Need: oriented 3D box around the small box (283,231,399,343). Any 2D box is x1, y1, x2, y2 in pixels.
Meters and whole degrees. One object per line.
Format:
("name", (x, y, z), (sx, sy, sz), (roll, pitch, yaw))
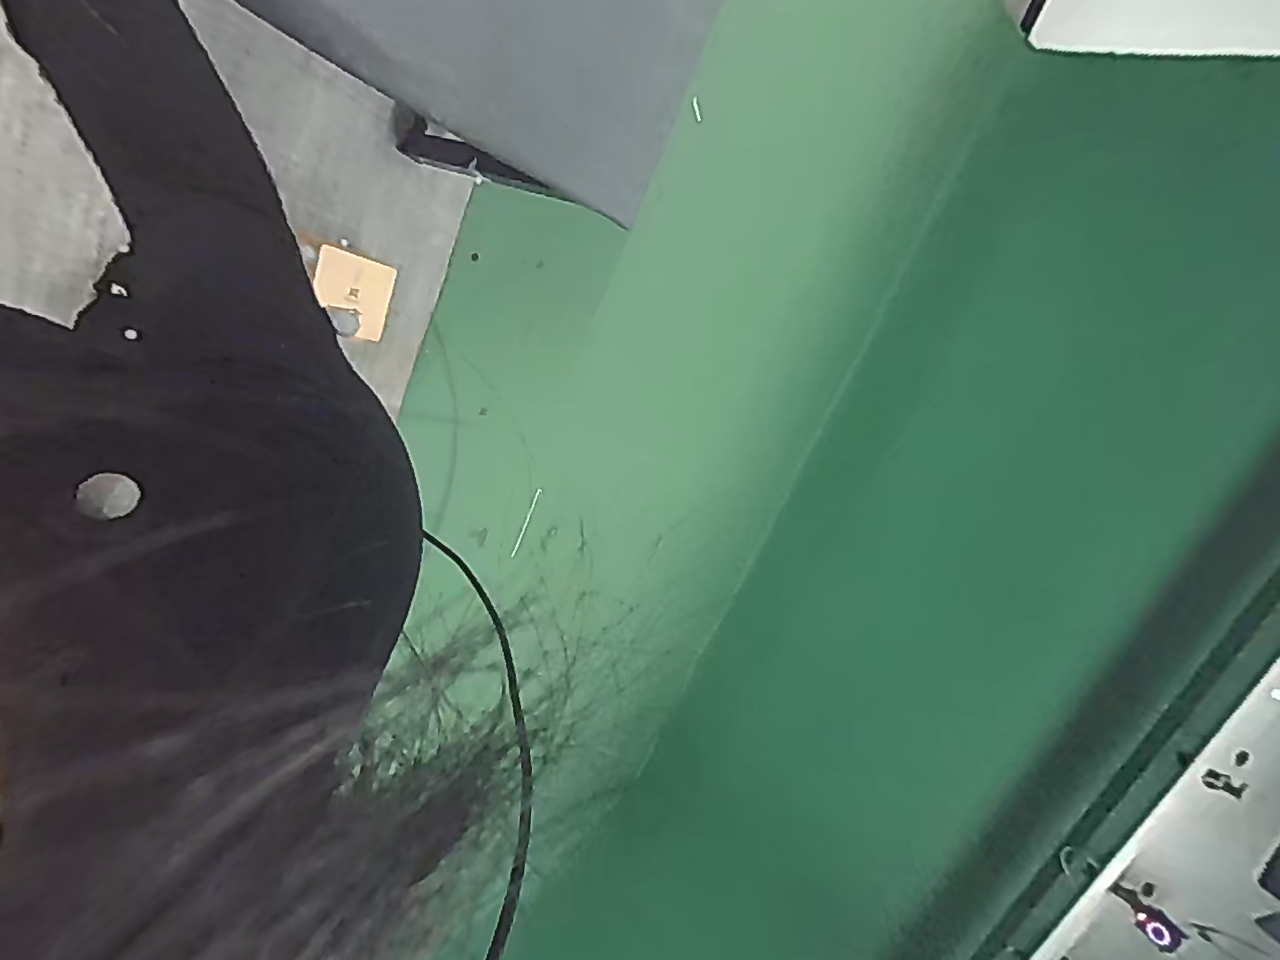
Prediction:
("small box", (-0.685, -0.438, 1.230), (0.168, 0.176, 0.179), (4, 113, -53))
